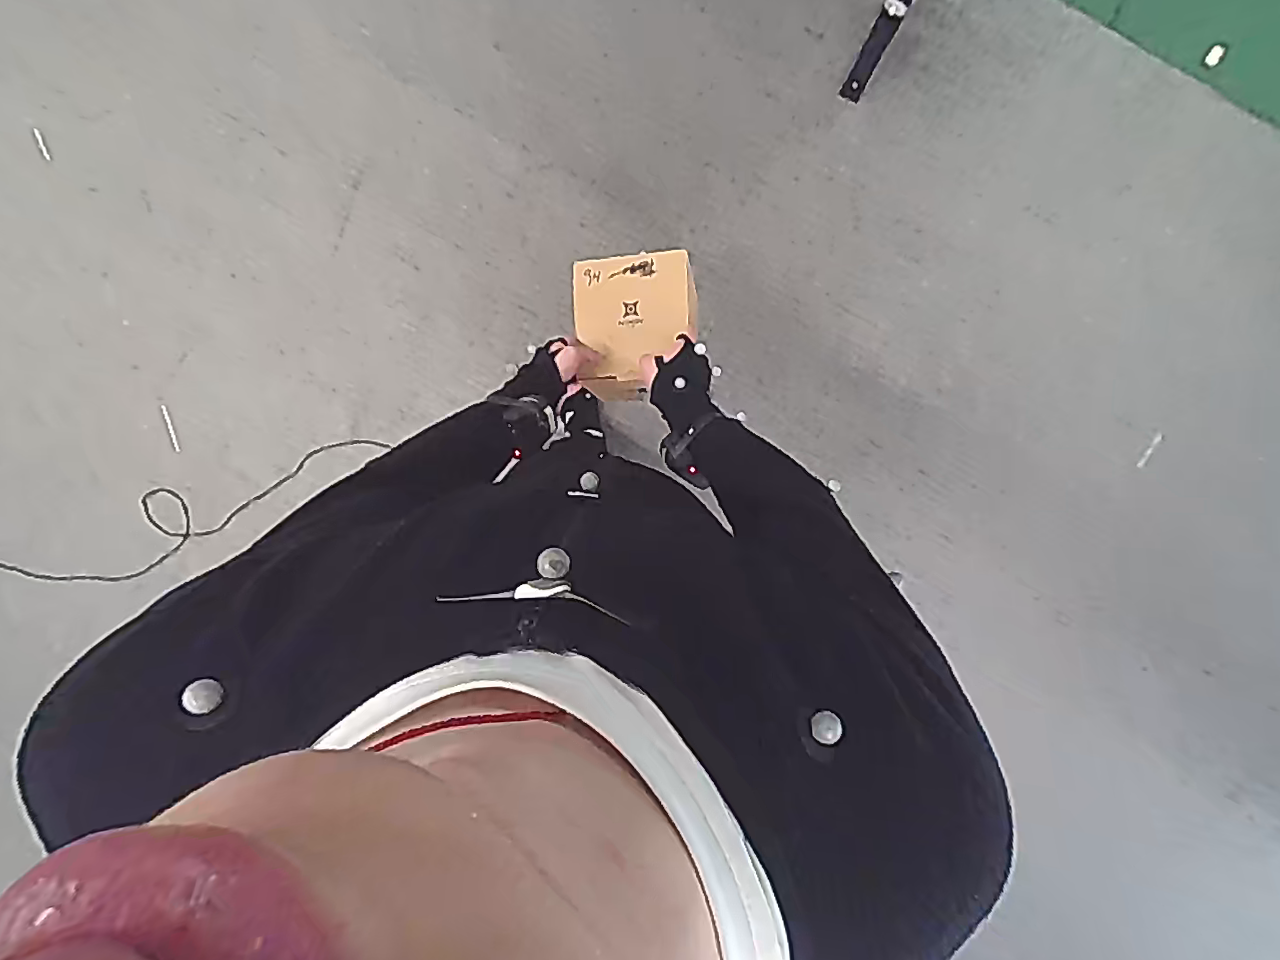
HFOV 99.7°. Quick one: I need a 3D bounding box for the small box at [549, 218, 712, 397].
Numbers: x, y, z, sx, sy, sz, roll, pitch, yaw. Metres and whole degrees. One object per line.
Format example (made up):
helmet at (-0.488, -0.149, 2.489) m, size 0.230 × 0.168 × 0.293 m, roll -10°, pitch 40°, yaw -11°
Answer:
small box at (-0.005, -0.250, 0.834) m, size 0.179 × 0.176 × 0.168 m, roll -33°, pitch 81°, yaw 9°
